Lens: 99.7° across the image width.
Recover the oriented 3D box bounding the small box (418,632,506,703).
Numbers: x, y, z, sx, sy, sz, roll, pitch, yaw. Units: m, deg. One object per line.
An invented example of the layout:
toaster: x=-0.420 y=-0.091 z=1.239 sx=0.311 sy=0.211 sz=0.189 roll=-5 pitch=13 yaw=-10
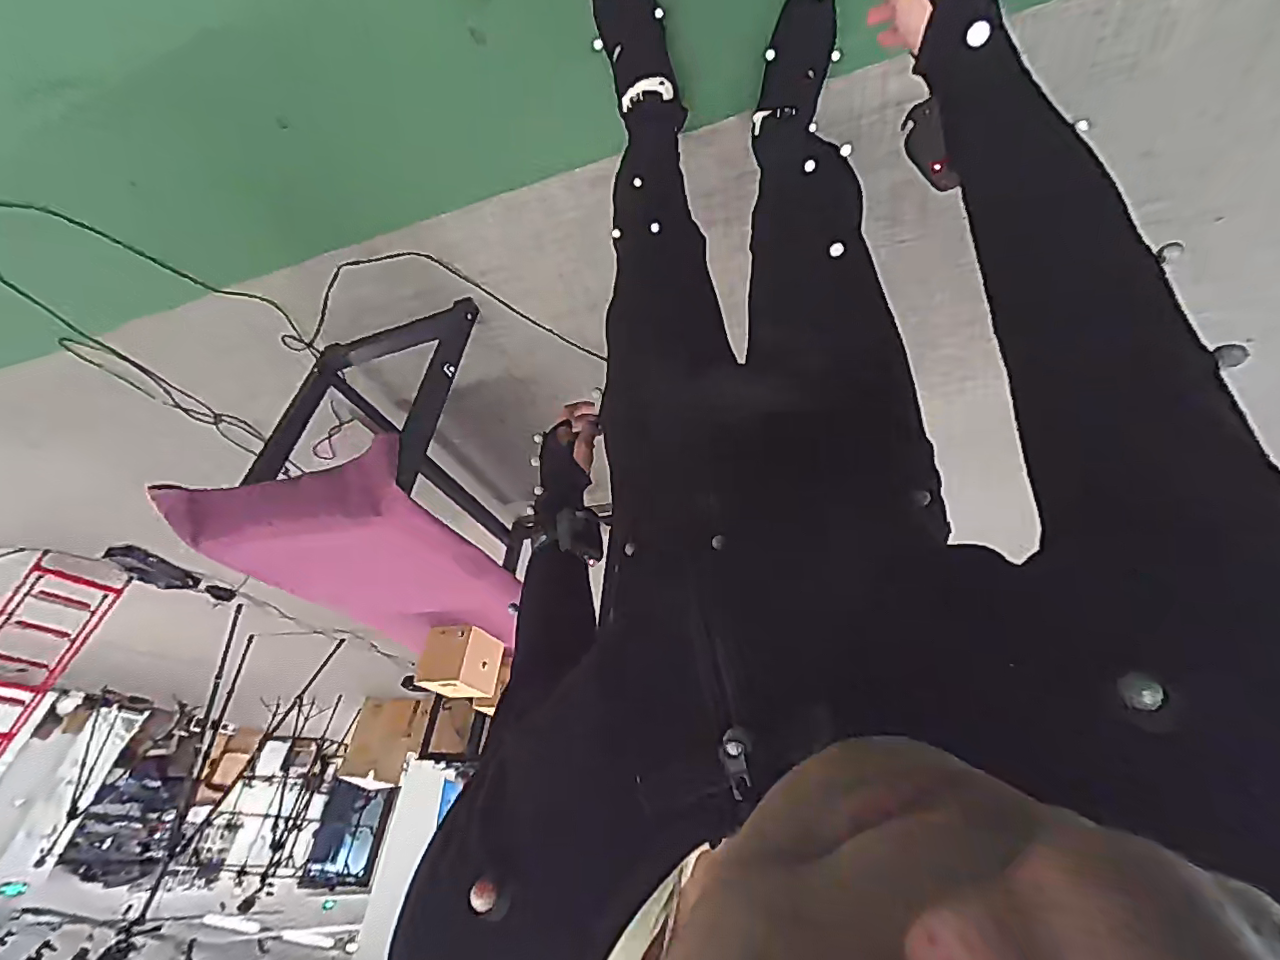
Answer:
small box: x=-0.533 y=0.567 z=1.640 sx=0.168 sy=0.176 sz=0.179 roll=-9 pitch=143 yaw=21
